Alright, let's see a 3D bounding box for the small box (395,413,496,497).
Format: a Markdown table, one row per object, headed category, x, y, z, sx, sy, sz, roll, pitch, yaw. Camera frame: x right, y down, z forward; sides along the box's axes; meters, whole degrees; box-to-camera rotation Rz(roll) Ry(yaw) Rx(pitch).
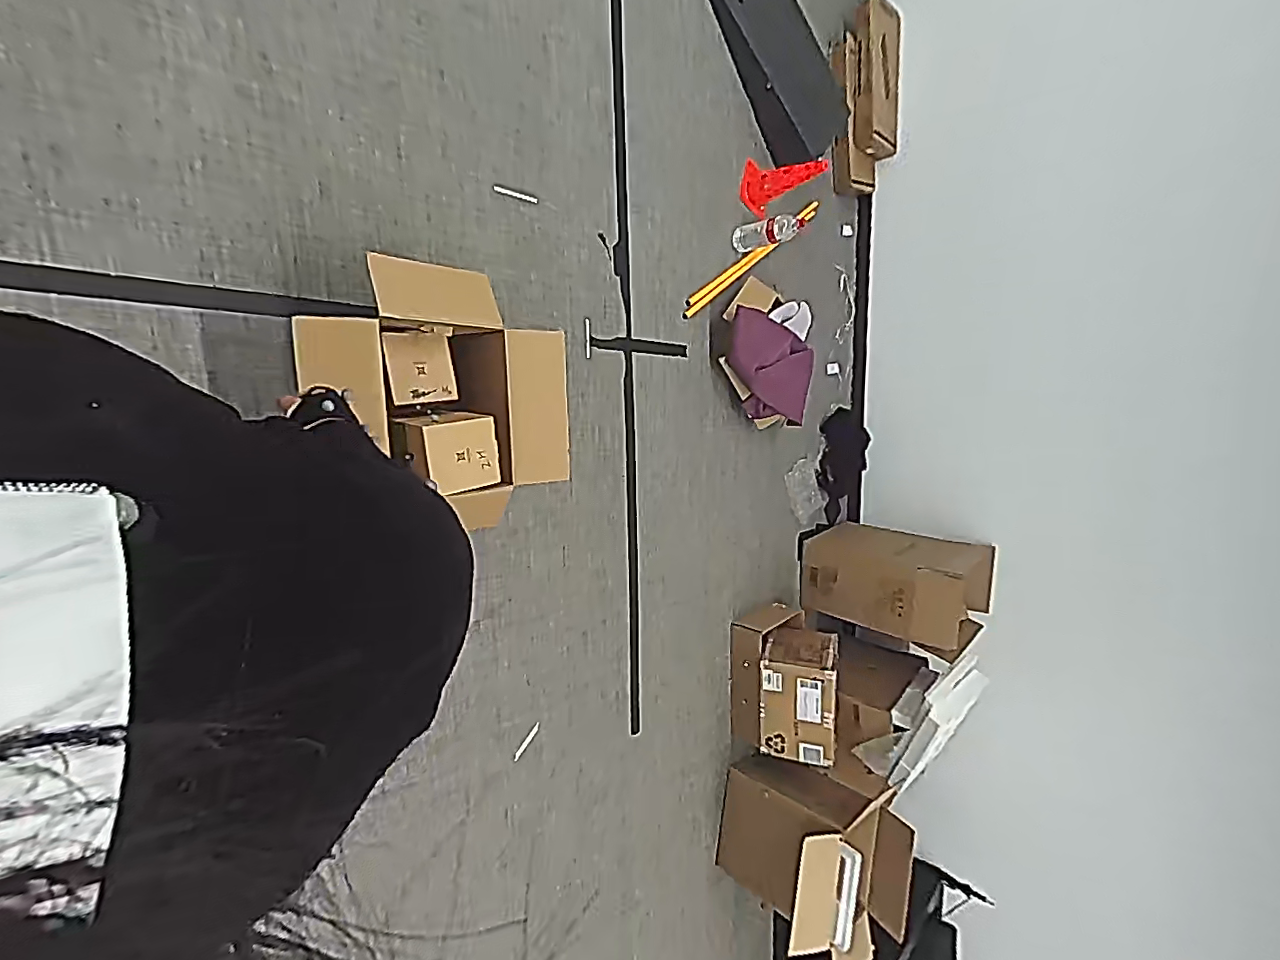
| category | x | y | z | sx | sy | sz | roll | pitch | yaw |
| --- | --- | --- | --- | --- | --- | --- | --- | --- | --- |
| small box | -0.474 | -0.067 | 1.309 | 0.179 | 0.176 | 0.168 | -17 | 110 | -42 |
